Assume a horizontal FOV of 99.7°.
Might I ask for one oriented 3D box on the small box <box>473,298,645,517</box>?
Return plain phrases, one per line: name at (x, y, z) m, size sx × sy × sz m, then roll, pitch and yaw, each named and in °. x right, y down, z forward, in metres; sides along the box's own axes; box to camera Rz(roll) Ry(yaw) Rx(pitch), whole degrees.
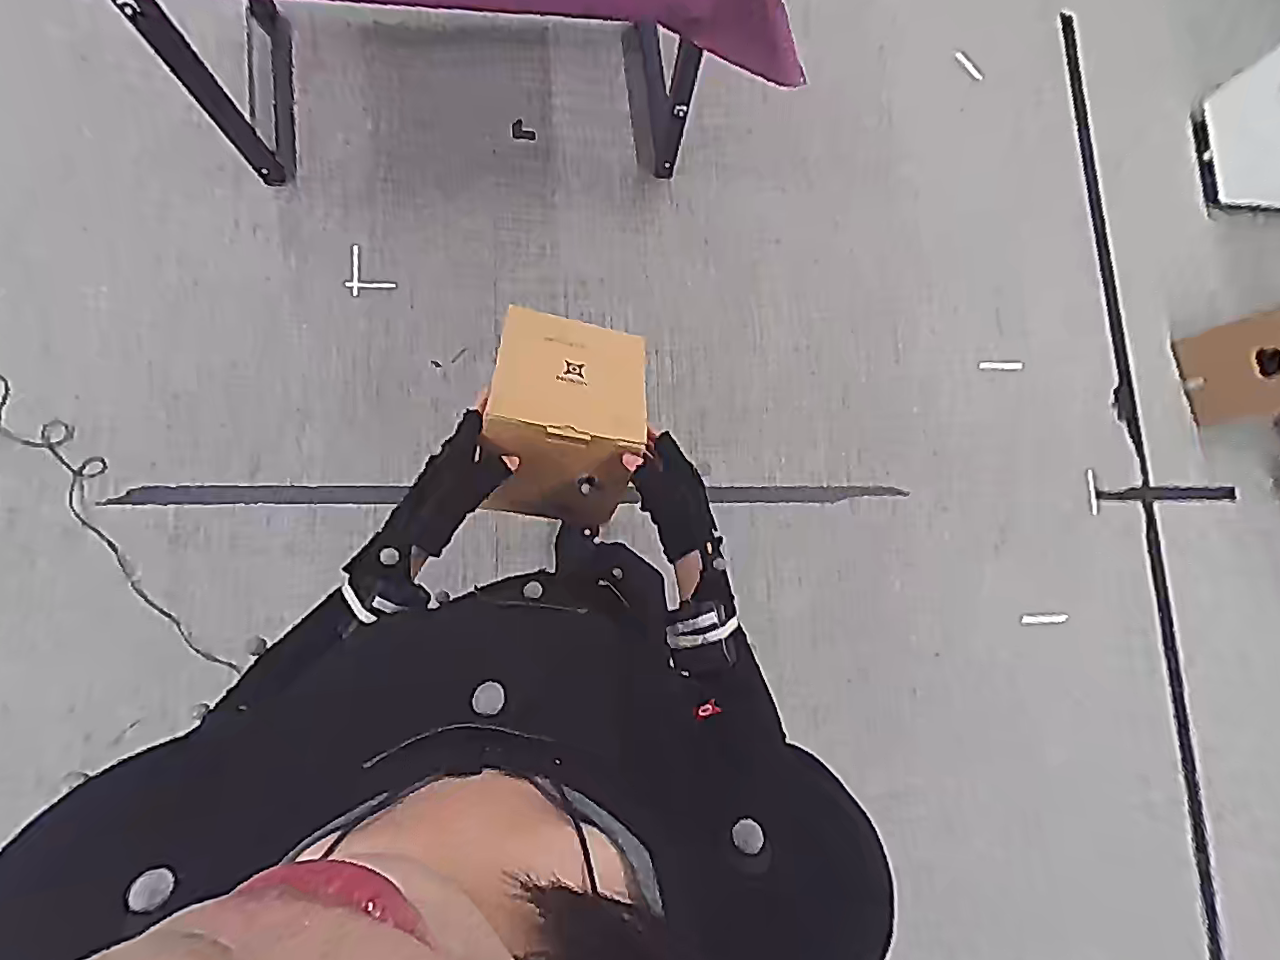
small box at (-0.098, -0.076, 0.637) m, size 0.168 × 0.176 × 0.179 m, roll 10°, pitch 51°, yaw -16°
